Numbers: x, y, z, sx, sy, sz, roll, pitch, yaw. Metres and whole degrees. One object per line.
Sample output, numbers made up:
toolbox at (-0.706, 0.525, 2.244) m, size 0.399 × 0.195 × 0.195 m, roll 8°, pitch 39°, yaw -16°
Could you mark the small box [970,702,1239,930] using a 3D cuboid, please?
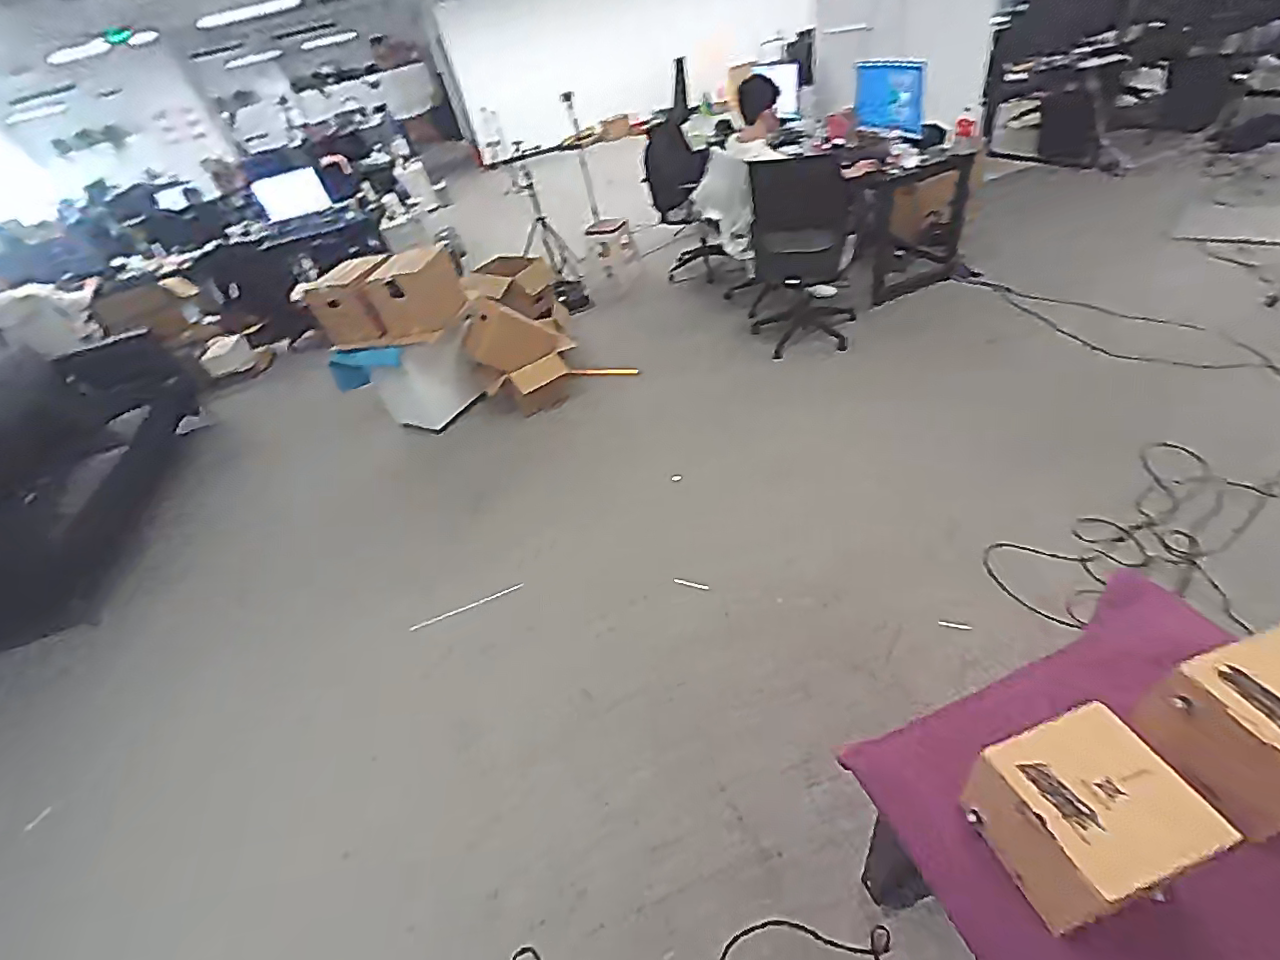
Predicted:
small box at (0.546, 0.418, 0.672) m, size 0.179 × 0.176 × 0.168 m, roll -18°, pitch 40°, yaw -7°
